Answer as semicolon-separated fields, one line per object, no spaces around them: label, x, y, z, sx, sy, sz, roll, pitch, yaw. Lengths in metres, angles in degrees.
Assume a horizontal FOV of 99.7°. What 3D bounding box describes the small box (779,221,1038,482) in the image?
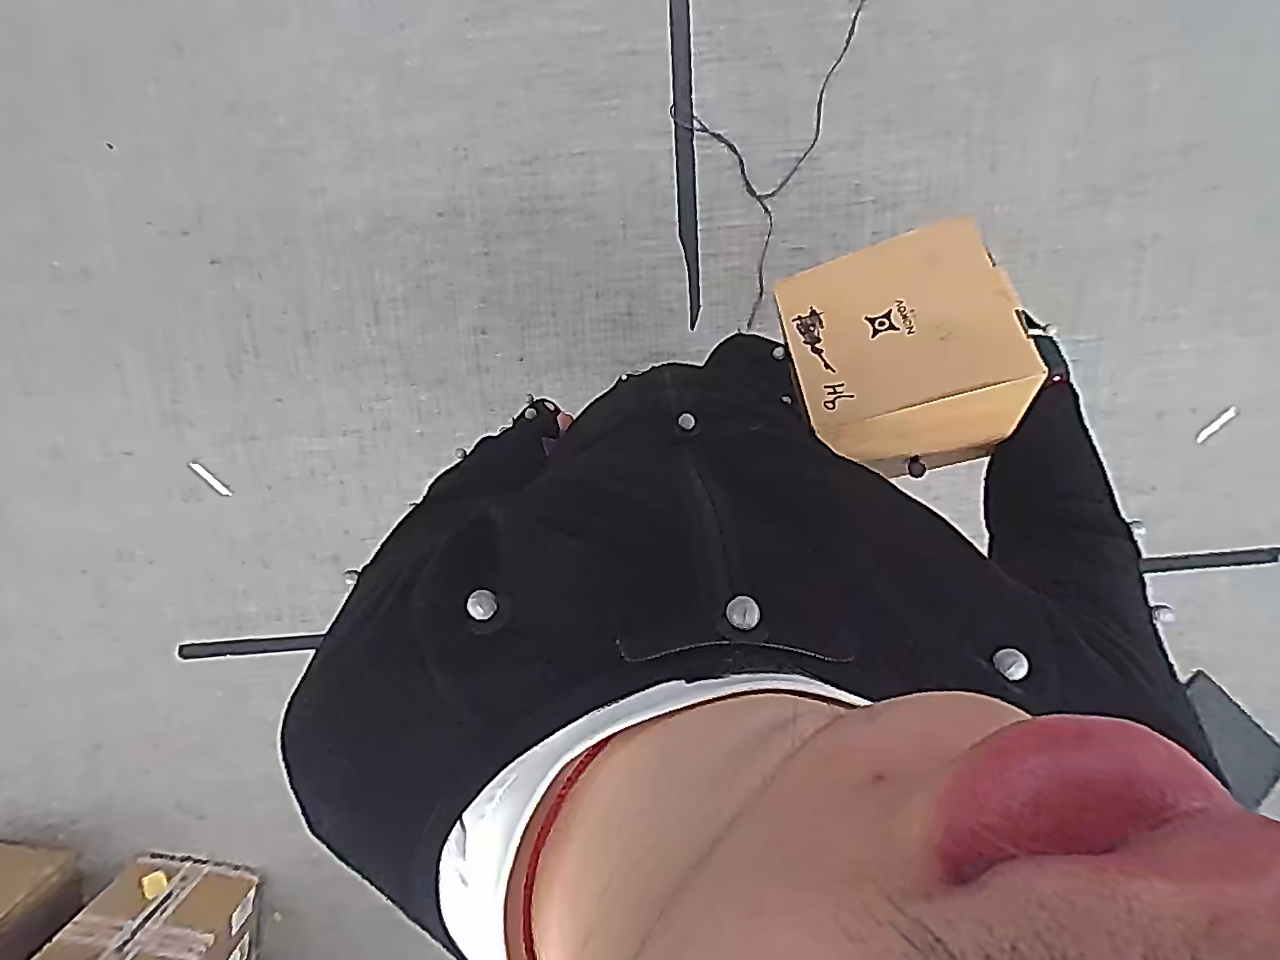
small box;0.250;-0.114;0.546;0.179;0.176;0.168;-14;65;16
